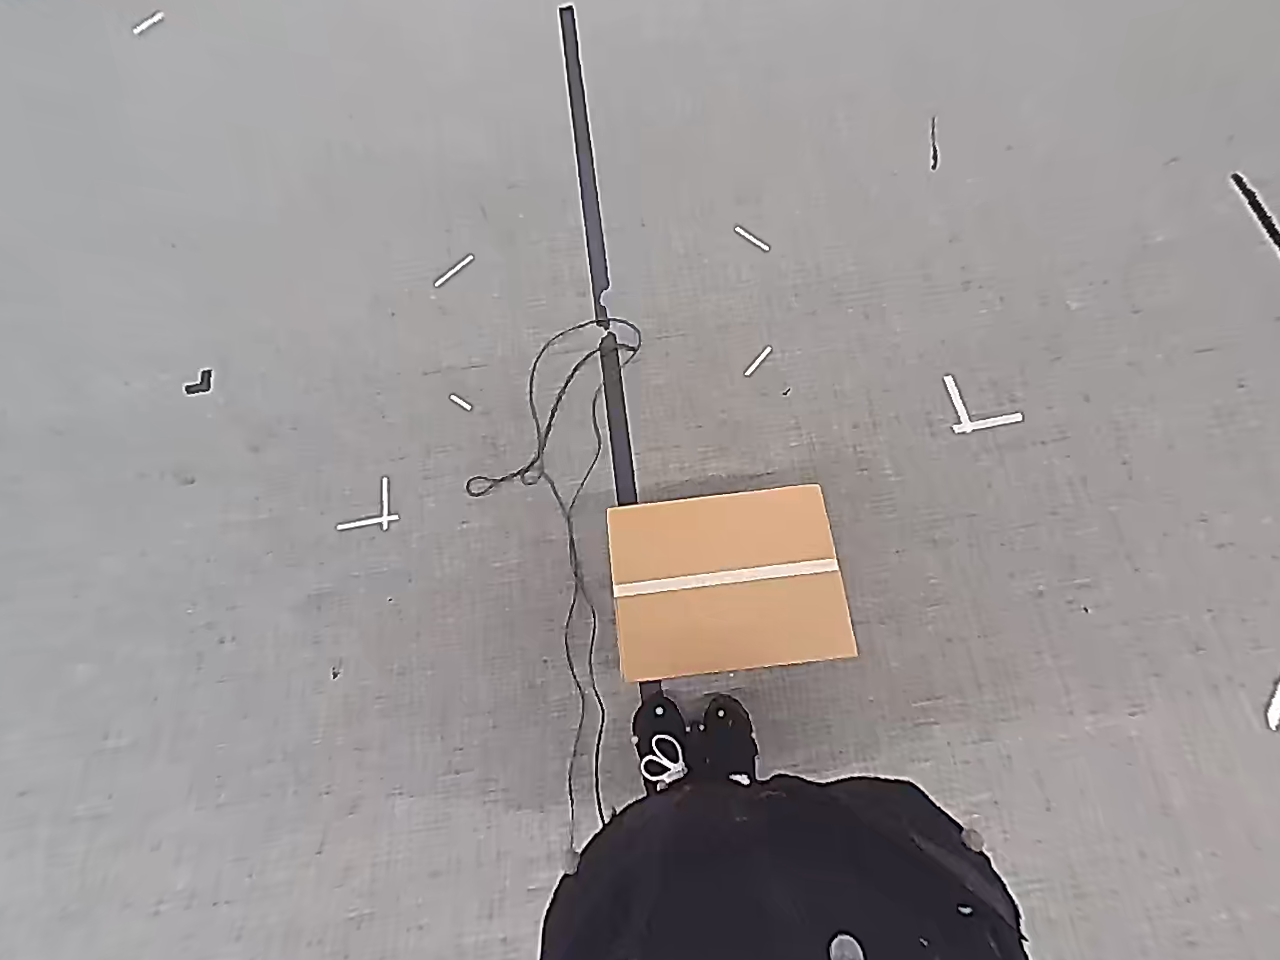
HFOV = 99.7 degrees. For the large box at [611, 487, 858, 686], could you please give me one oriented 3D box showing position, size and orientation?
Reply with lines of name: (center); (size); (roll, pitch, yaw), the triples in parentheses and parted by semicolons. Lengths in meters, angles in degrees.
large box: (0.166, 0.230, 1.112); (0.408, 0.320, 0.320); (-7, 72, 1)
